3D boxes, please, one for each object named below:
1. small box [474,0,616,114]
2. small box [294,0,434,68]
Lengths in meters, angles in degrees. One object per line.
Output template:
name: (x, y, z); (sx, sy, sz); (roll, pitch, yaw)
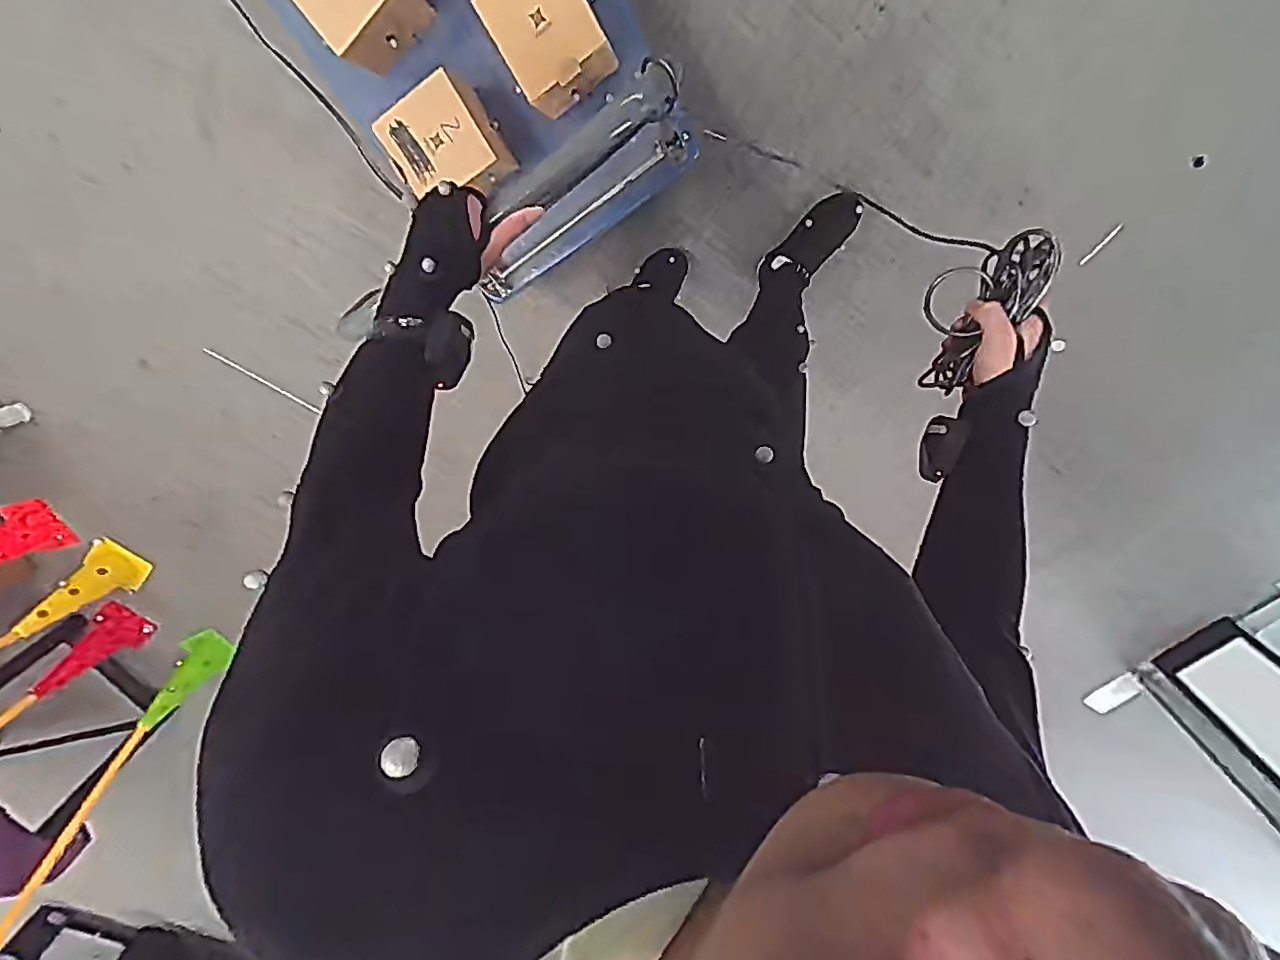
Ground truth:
small box: (-0.160, -0.800, 0.970); (0.168, 0.176, 0.179); (-28, 112, 17)
small box: (-0.504, -0.875, 0.958); (0.168, 0.176, 0.179); (-33, 110, 18)
